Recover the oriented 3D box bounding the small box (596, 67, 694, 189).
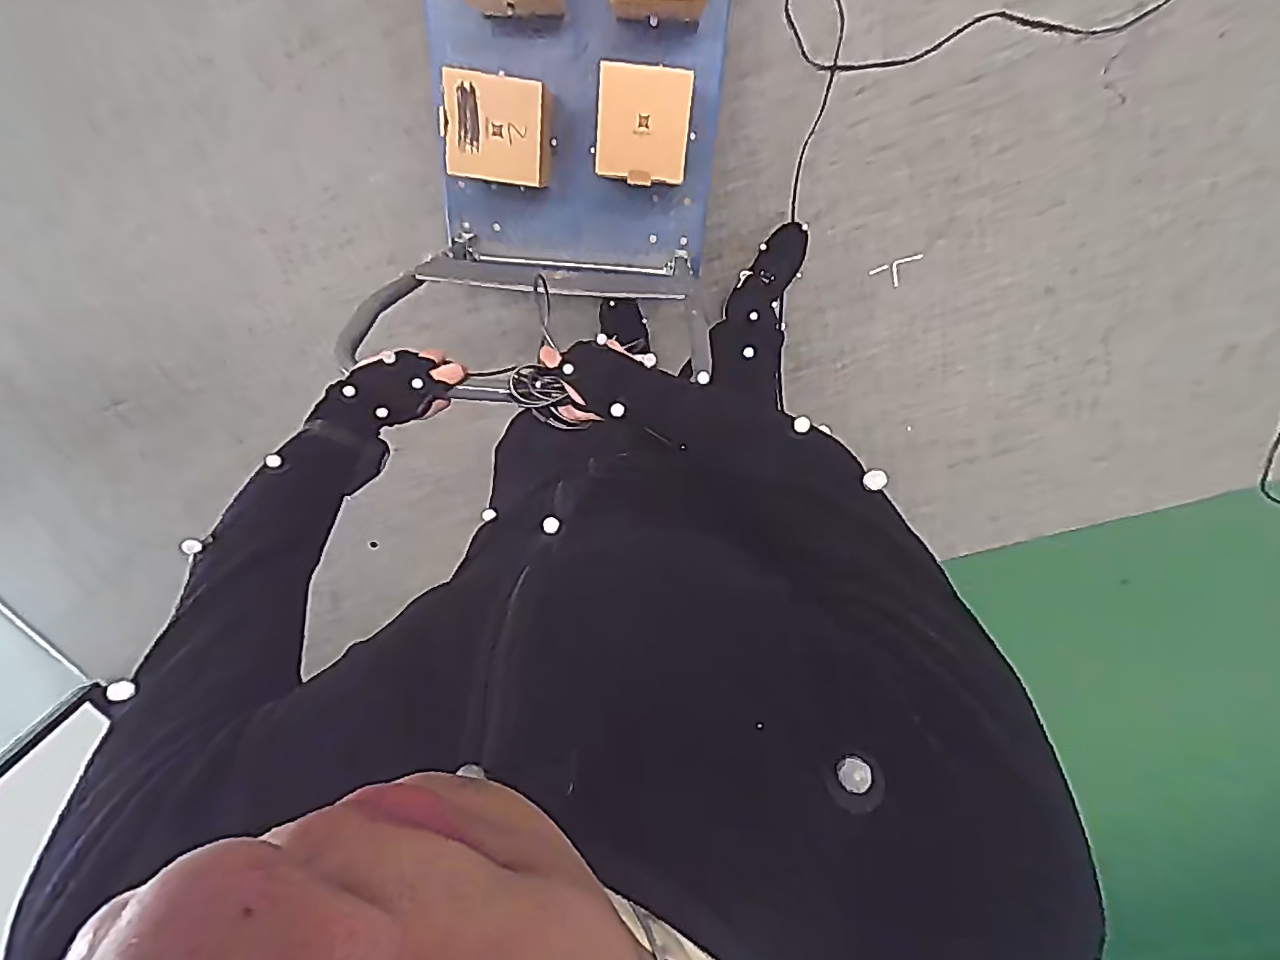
[{"bbox_3d":[0.006,-0.671,1.045,0.168,0.176,0.179,4,120,-2],"label":"small box"}]

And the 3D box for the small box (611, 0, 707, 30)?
[{"bbox_3d":[0.033,-0.898,0.915,0.168,0.176,0.179,3,120,0],"label":"small box"}]

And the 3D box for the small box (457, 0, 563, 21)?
[{"bbox_3d":[-0.225,-0.906,0.915,0.168,0.176,0.179,0,119,0],"label":"small box"}]
